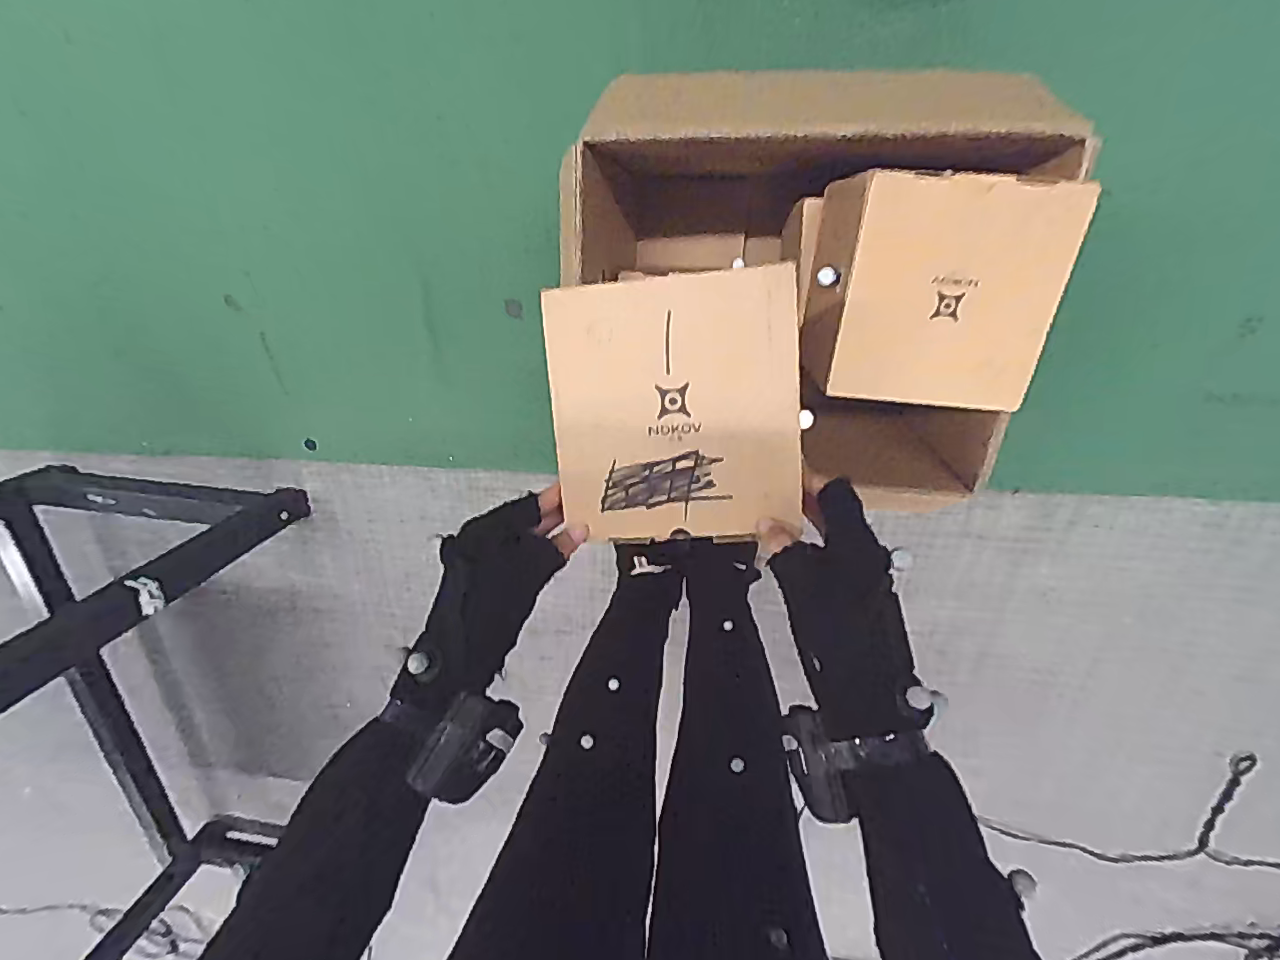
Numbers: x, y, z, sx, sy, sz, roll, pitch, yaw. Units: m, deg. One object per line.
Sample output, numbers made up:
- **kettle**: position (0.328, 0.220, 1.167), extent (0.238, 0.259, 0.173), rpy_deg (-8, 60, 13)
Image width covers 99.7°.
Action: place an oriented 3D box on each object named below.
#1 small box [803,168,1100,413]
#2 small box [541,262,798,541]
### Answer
- **small box**: position (0.256, -0.177, 0.502), extent (0.168, 0.176, 0.179), rpy_deg (6, 114, 5)
- **small box**: position (0.034, -0.060, 0.431), extent (0.168, 0.176, 0.179), rpy_deg (-2, 100, 10)
